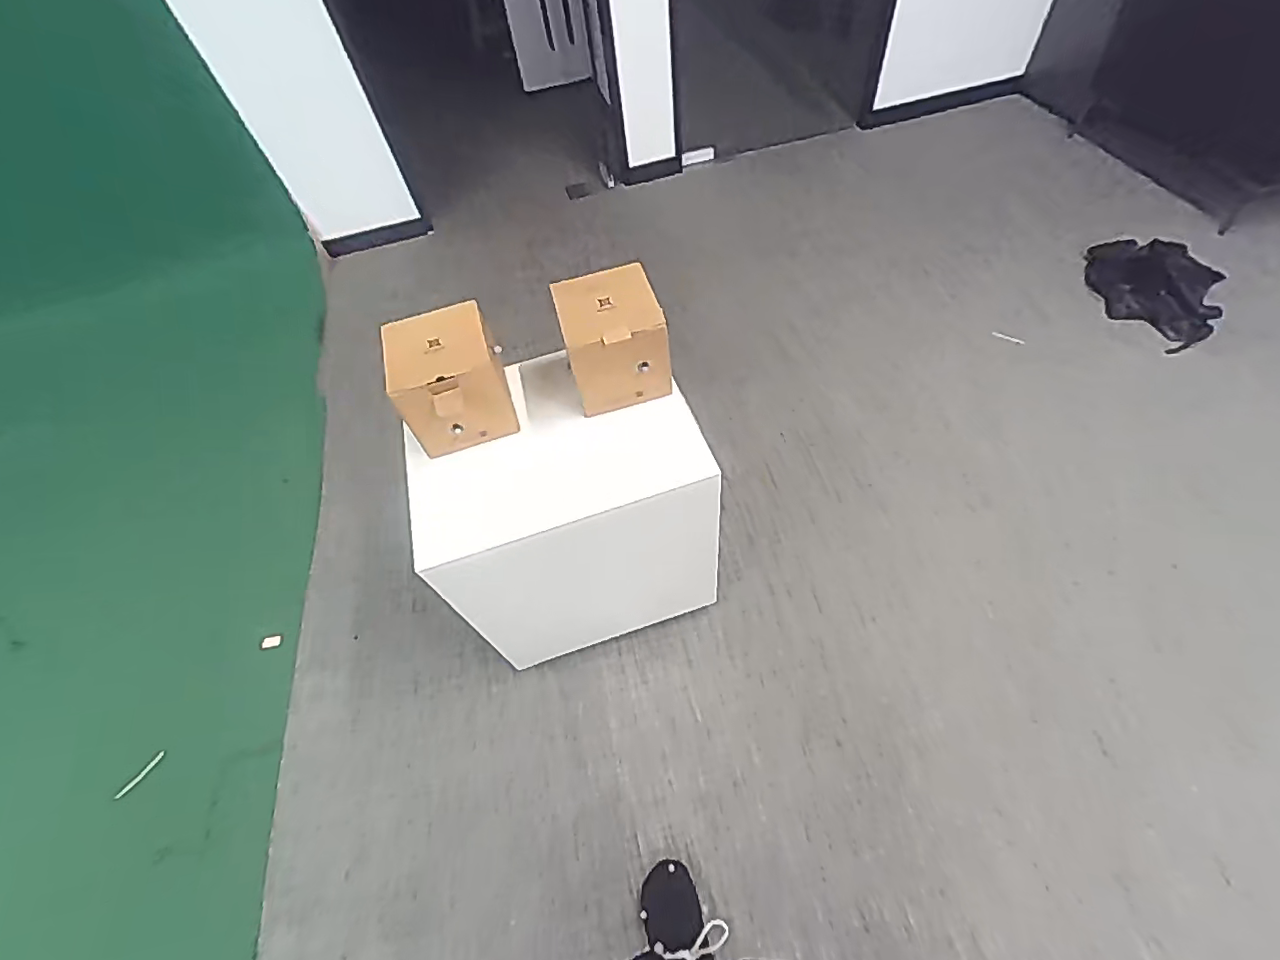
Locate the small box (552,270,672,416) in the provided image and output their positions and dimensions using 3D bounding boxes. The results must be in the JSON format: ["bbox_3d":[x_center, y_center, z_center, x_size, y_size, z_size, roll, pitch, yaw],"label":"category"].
[{"bbox_3d":[-0.045,-0.234,0.959,0.168,0.176,0.179,-15,55,-4],"label":"small box"}]

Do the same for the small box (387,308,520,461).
[{"bbox_3d":[-0.321,-0.164,0.945,0.168,0.176,0.179,-18,57,-6],"label":"small box"}]
